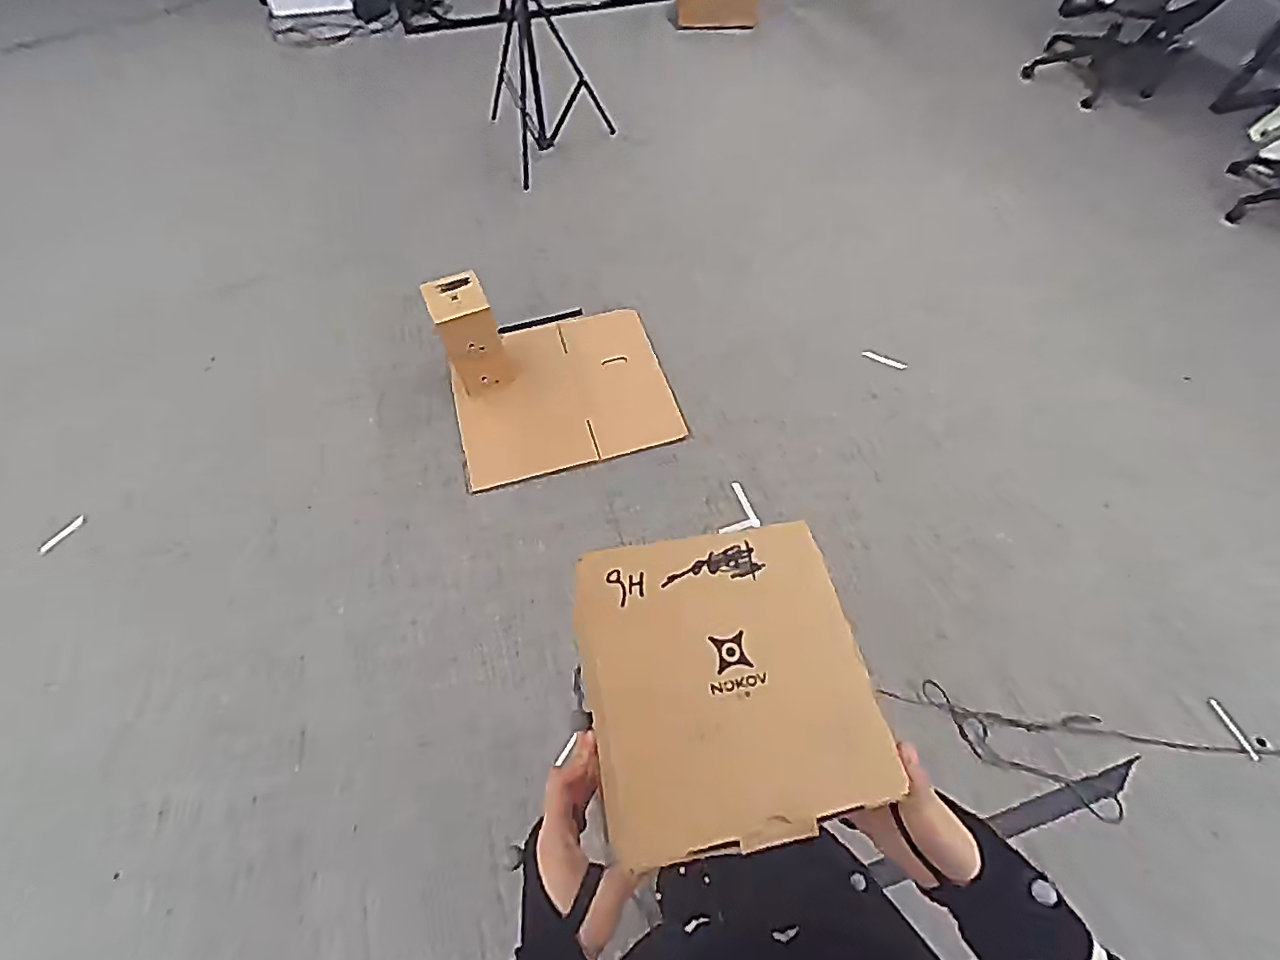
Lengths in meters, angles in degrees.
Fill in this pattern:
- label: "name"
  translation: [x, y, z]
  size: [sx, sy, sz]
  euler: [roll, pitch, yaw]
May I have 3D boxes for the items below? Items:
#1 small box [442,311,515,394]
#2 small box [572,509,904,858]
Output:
- label: "small box"
  translation: [-0.528, -0.416, 1.780]
  size: [0.168, 0.176, 0.179]
  euler: [-24, 63, -12]
- label: "small box"
  translation: [0.044, 0.143, 0.395]
  size: [0.168, 0.176, 0.179]
  euler: [-7, 63, -13]
